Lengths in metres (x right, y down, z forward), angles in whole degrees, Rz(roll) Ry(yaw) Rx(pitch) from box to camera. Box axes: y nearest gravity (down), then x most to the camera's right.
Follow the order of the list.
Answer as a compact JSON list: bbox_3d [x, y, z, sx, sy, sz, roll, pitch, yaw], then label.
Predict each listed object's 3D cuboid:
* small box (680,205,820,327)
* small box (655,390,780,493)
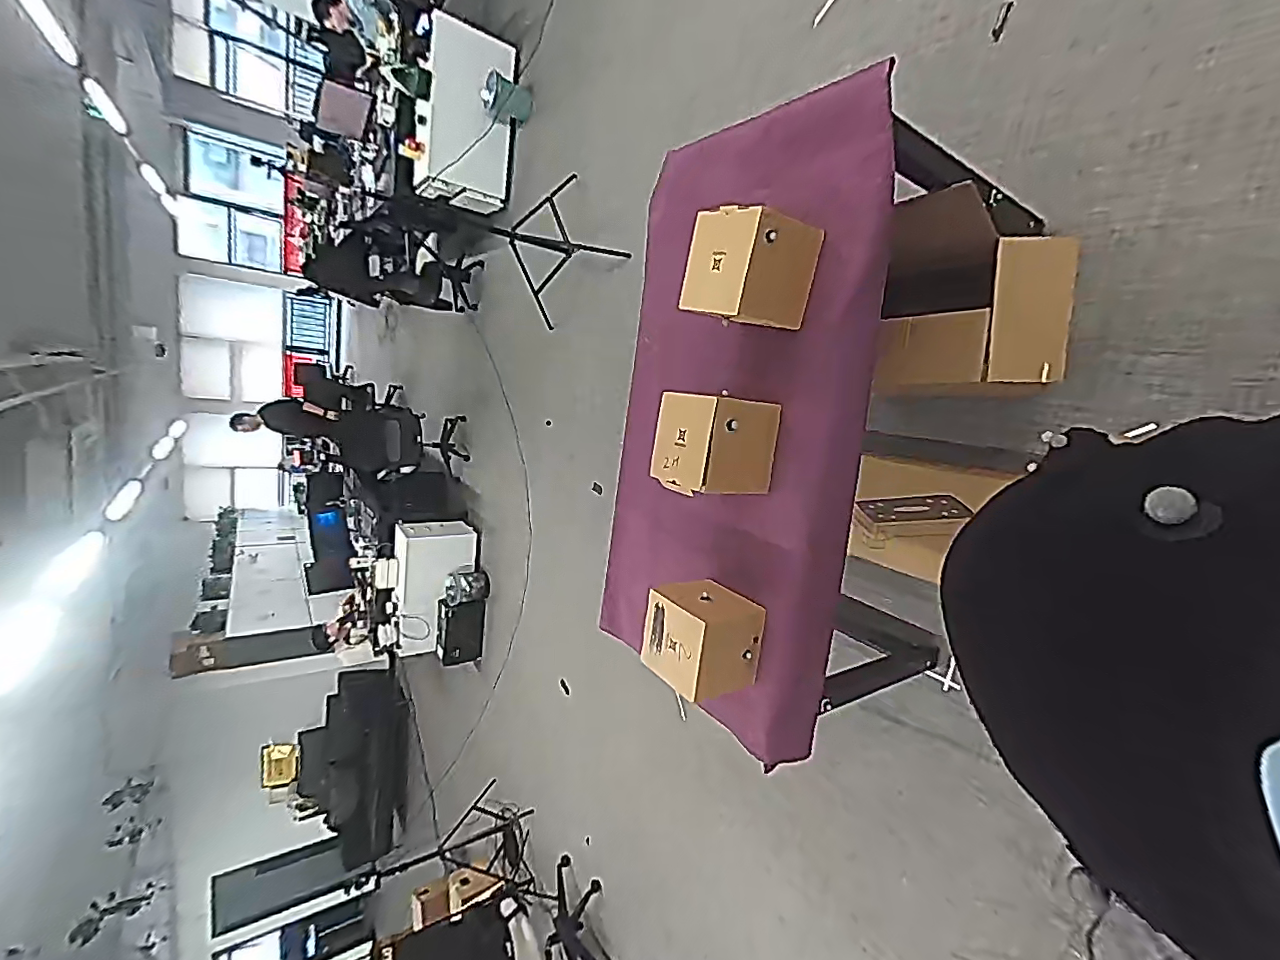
[{"bbox_3d":[0.201,-0.383,0.990,0.168,0.176,0.179,30,114,51],"label":"small box"},{"bbox_3d":[0.151,-0.077,1.060,0.168,0.176,0.179,20,107,56],"label":"small box"}]
